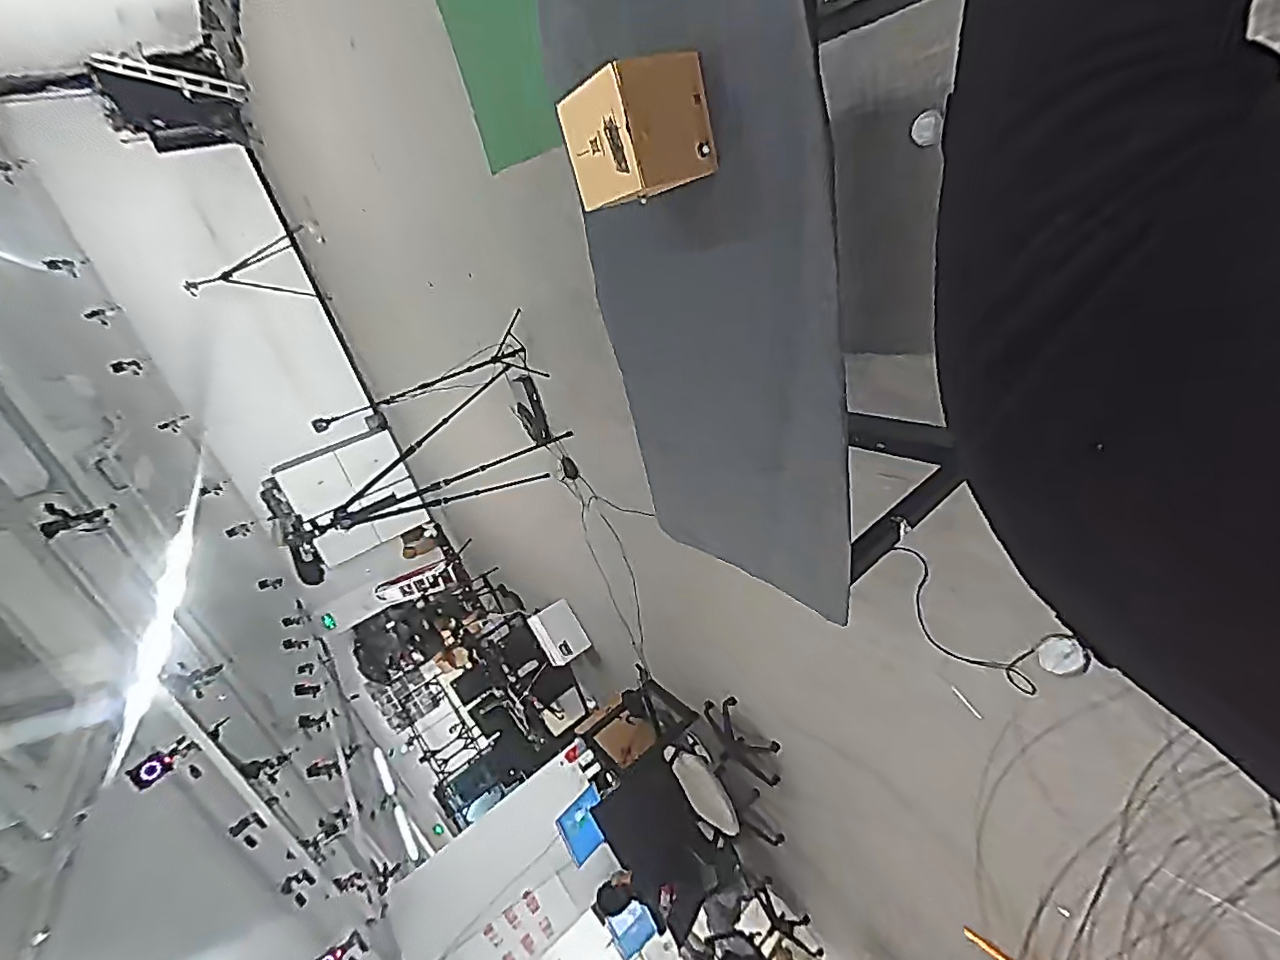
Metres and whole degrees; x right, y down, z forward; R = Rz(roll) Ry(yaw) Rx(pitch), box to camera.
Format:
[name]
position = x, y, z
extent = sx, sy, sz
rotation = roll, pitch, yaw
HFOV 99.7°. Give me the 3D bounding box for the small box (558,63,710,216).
[small box]
position = -0.002, -0.557, 0.894
extent = 0.179, 0.176, 0.168
rotation = 18, 130, 53
